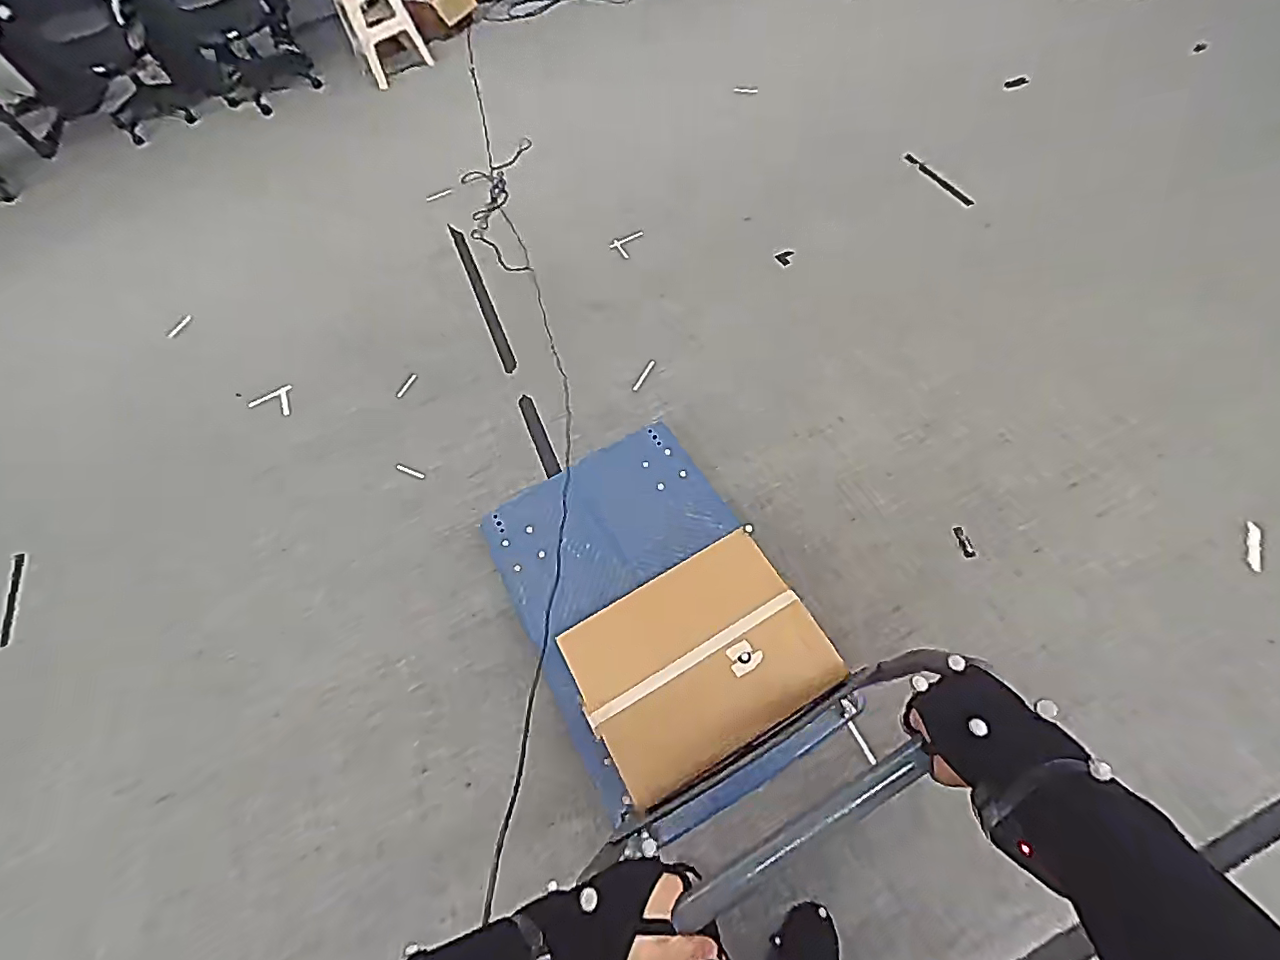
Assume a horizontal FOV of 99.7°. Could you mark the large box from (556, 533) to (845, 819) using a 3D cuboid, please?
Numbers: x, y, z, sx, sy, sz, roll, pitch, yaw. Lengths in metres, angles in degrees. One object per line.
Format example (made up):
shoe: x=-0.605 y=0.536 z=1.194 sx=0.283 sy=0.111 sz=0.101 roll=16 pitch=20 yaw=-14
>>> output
large box: x=0.109 y=0.379 z=1.043 sx=0.408 sy=0.320 sz=0.320 roll=-30 pitch=62 yaw=-8
